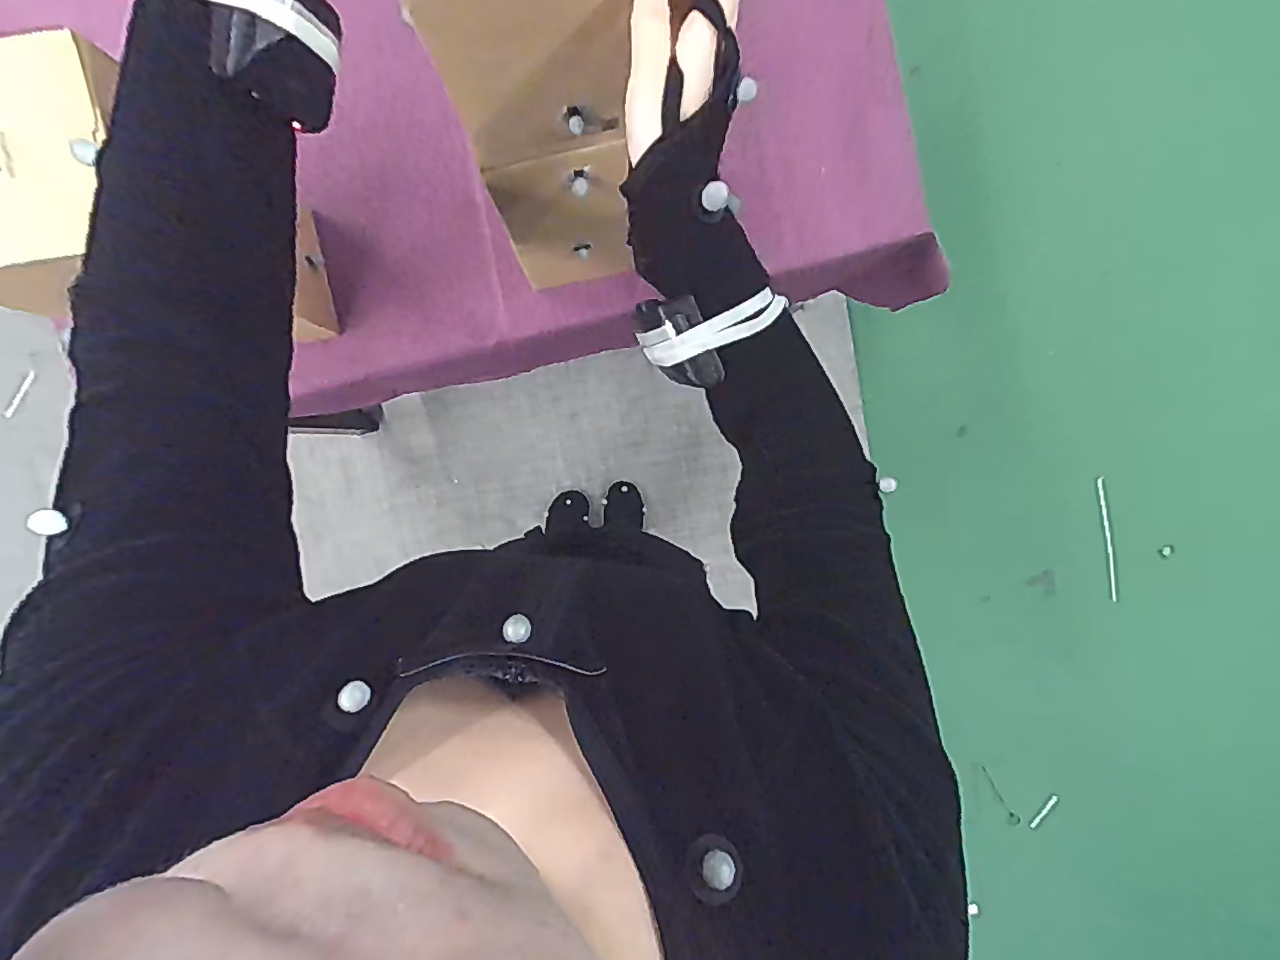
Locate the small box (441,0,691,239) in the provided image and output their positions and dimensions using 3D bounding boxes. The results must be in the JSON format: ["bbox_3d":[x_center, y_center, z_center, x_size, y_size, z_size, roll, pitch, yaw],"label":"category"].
[{"bbox_3d":[-0.063,-0.351,0.506,0.179,0.176,0.168,-13,95,0],"label":"small box"}]

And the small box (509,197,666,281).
[{"bbox_3d":[-0.073,-0.362,0.668,0.179,0.176,0.168,-13,95,-2],"label":"small box"}]
